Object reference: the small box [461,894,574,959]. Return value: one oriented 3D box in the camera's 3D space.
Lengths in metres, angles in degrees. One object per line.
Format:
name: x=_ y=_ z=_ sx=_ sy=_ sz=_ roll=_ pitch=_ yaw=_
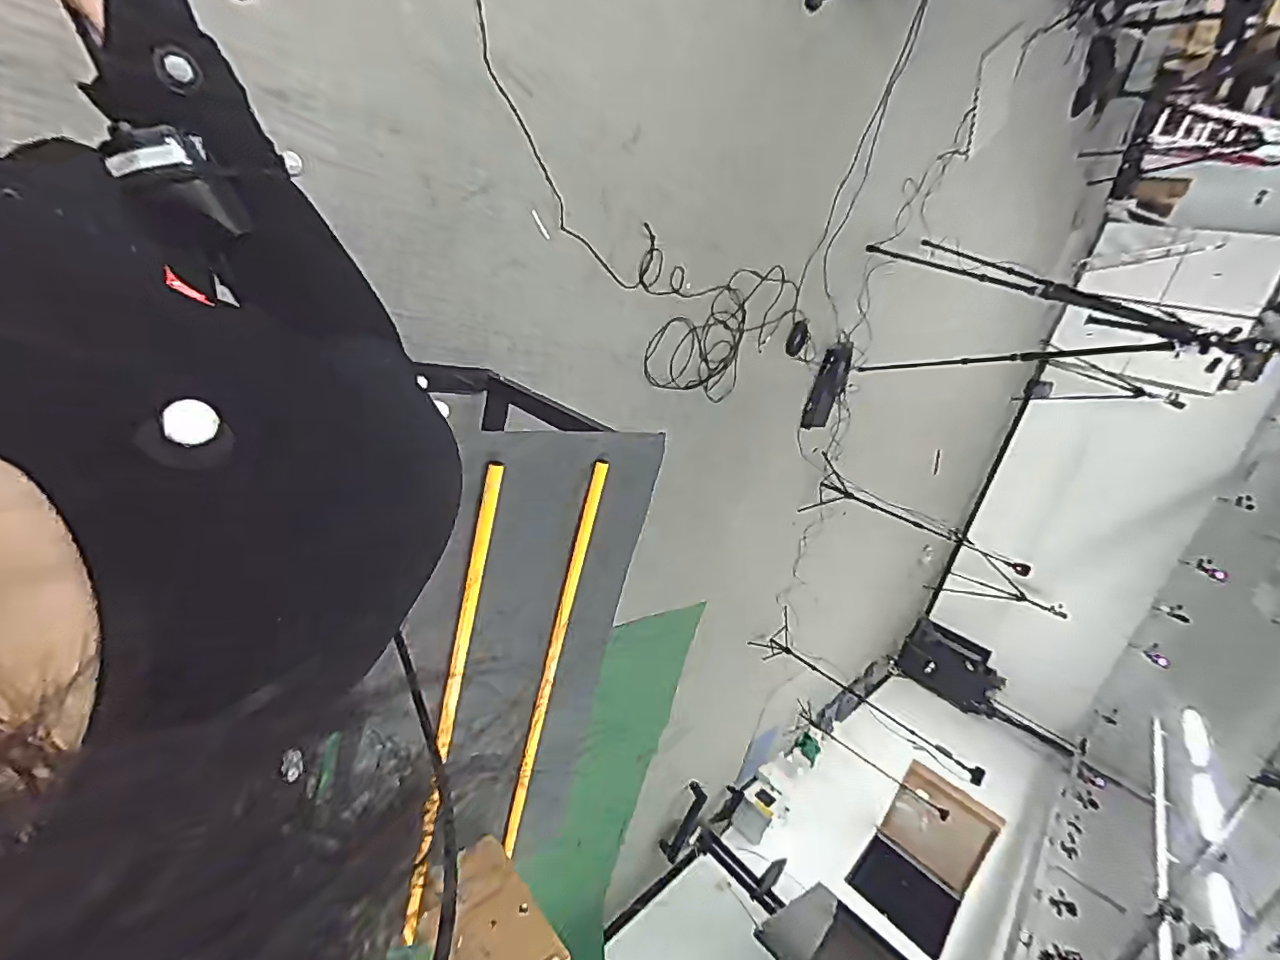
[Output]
small box: x=-0.273 y=1.047 z=1.166 sx=0.168 sy=0.176 sz=0.179 roll=3 pitch=110 yaw=-48
